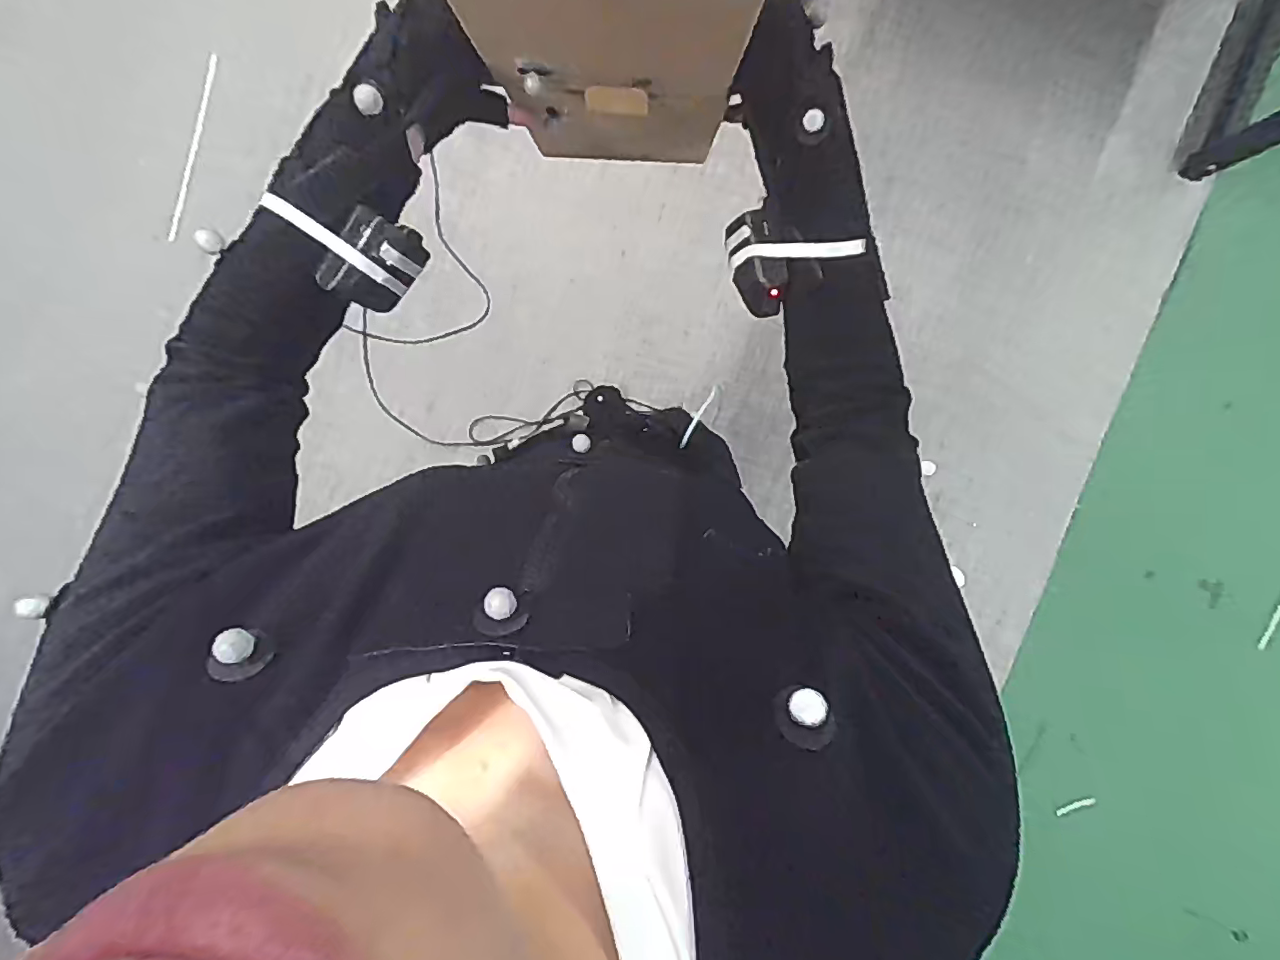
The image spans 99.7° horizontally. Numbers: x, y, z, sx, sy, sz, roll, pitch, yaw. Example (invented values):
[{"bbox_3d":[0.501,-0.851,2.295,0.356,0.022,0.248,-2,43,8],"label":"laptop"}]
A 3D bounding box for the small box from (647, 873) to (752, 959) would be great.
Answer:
[{"bbox_3d":[0.112,0.960,1.108,0.168,0.176,0.179,16,97,0],"label":"small box"}]

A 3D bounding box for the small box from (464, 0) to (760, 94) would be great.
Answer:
[{"bbox_3d":[-0.010,-0.332,0.276,0.168,0.176,0.179,5,107,-4],"label":"small box"}]

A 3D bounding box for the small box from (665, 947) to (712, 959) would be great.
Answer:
[{"bbox_3d":[0.108,0.981,0.946,0.168,0.176,0.179,16,96,0],"label":"small box"}]
